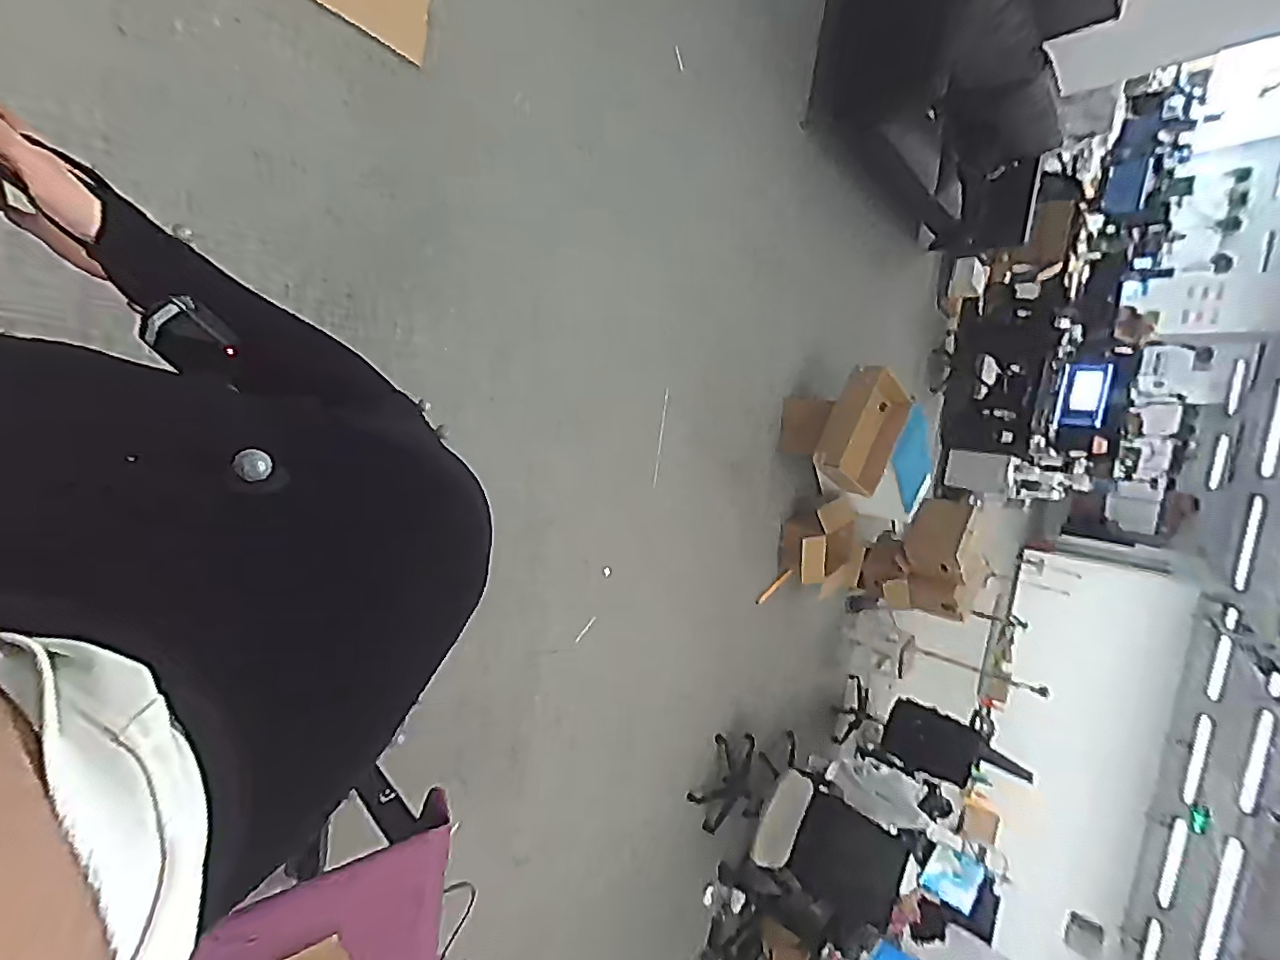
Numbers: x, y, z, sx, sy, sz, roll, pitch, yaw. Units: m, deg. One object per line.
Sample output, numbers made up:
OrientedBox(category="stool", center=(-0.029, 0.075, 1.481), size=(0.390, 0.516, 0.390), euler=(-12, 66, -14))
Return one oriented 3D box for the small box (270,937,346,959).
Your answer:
OrientedBox(category="small box", center=(-0.572, 0.904, 0.879), size=(0.168, 0.176, 0.179), euler=(3, 98, -47))
